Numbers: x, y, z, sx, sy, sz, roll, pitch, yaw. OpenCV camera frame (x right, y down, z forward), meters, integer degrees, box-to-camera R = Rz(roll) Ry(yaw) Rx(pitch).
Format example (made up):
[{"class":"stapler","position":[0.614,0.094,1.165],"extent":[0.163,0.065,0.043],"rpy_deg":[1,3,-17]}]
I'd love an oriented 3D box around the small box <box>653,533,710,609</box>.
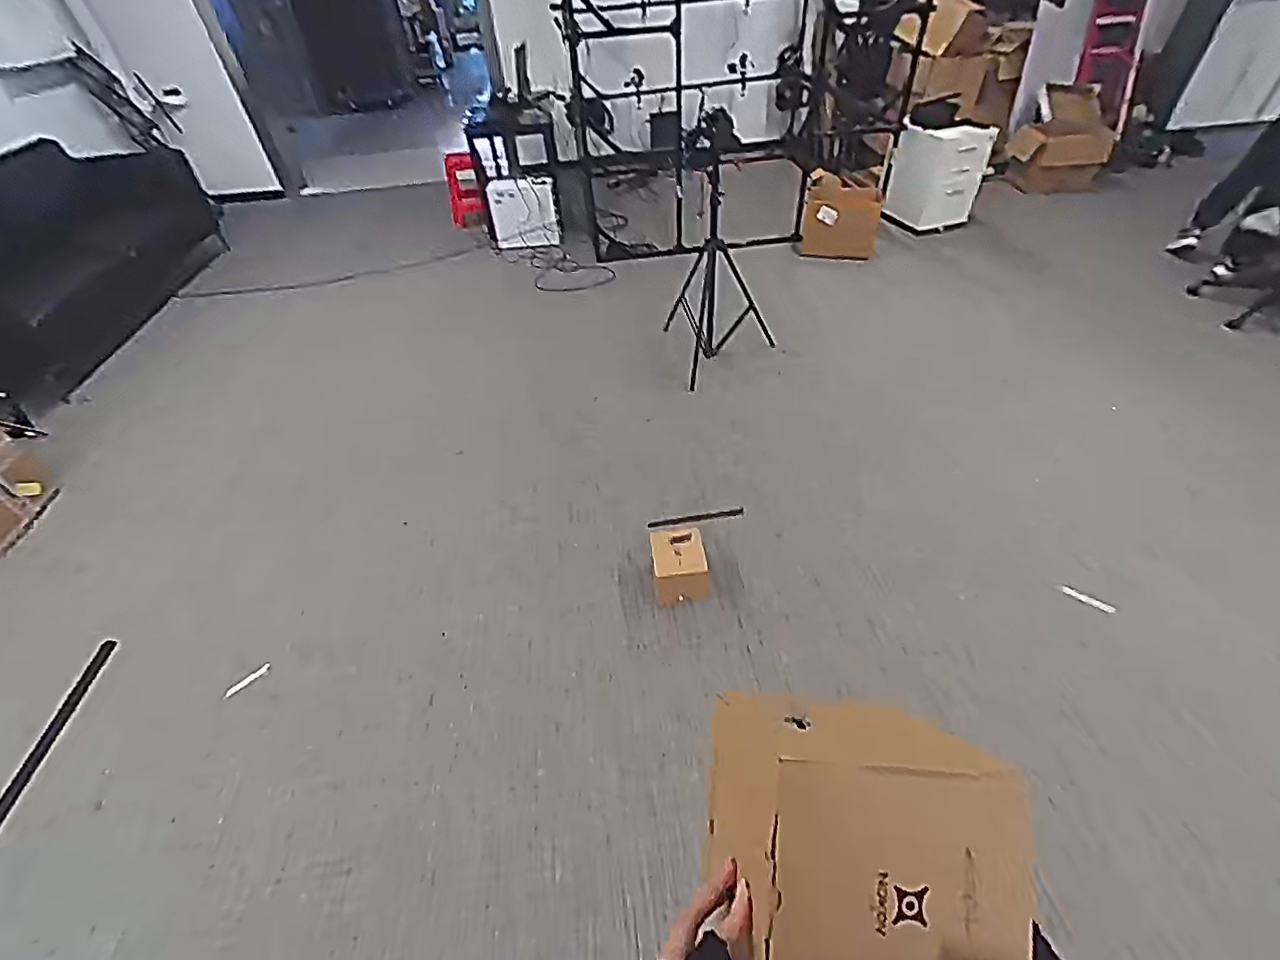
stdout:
[{"class":"small box","position":[0.132,0.297,1.765],"extent":[0.168,0.176,0.179],"rpy_deg":[-6,45,-1]}]

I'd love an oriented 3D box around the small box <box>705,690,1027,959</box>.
[{"class":"small box","position":[0.155,0.271,0.420],"extent":[0.179,0.176,0.168],"rpy_deg":[6,83,-7]}]
